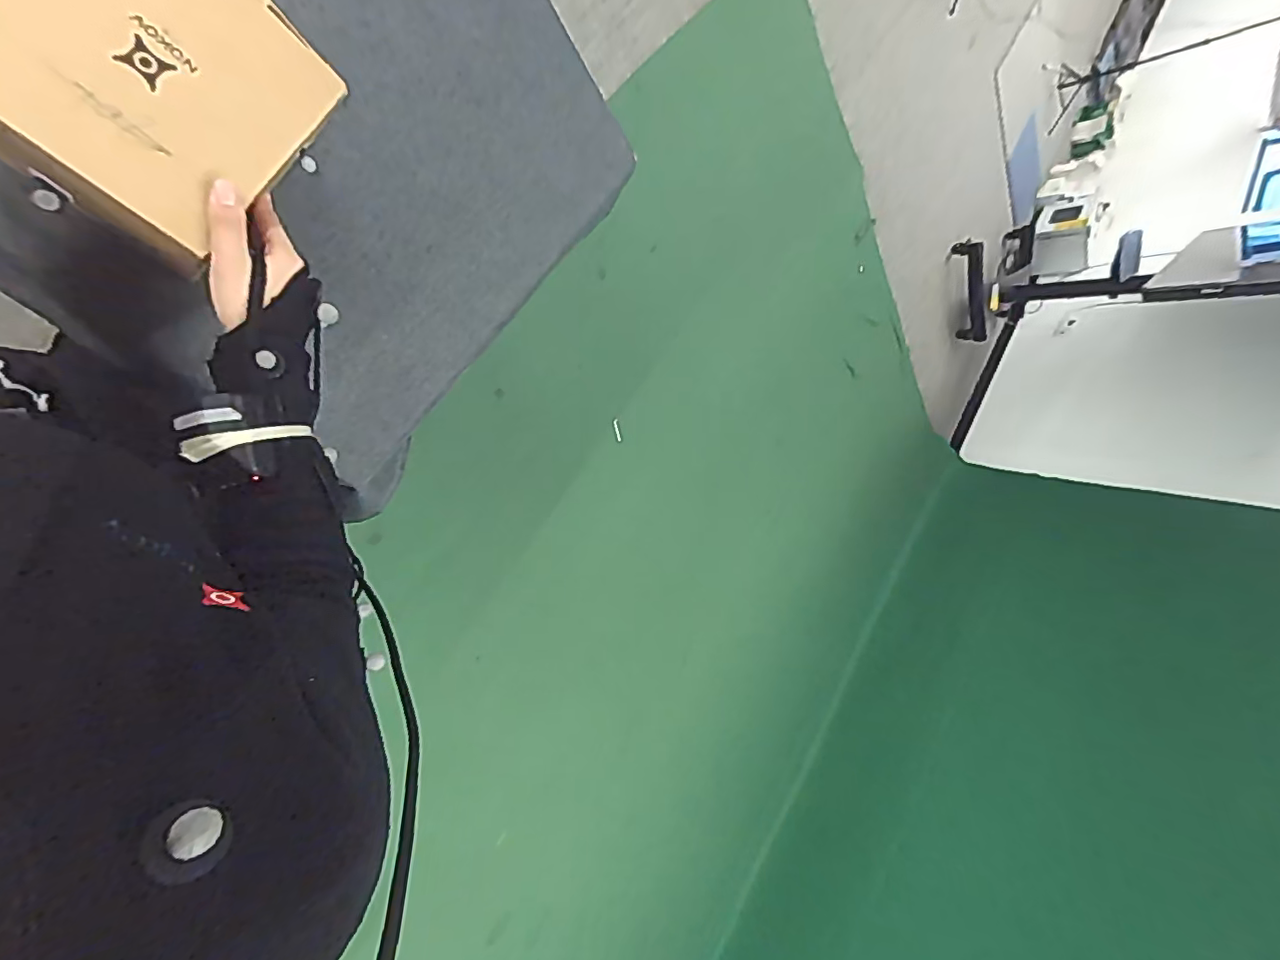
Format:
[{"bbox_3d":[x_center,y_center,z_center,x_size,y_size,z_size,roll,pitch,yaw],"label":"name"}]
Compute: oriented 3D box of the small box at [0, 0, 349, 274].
[{"bbox_3d":[-0.361,-0.280,0.401,0.168,0.176,0.179,39,75,-40],"label":"small box"}]
